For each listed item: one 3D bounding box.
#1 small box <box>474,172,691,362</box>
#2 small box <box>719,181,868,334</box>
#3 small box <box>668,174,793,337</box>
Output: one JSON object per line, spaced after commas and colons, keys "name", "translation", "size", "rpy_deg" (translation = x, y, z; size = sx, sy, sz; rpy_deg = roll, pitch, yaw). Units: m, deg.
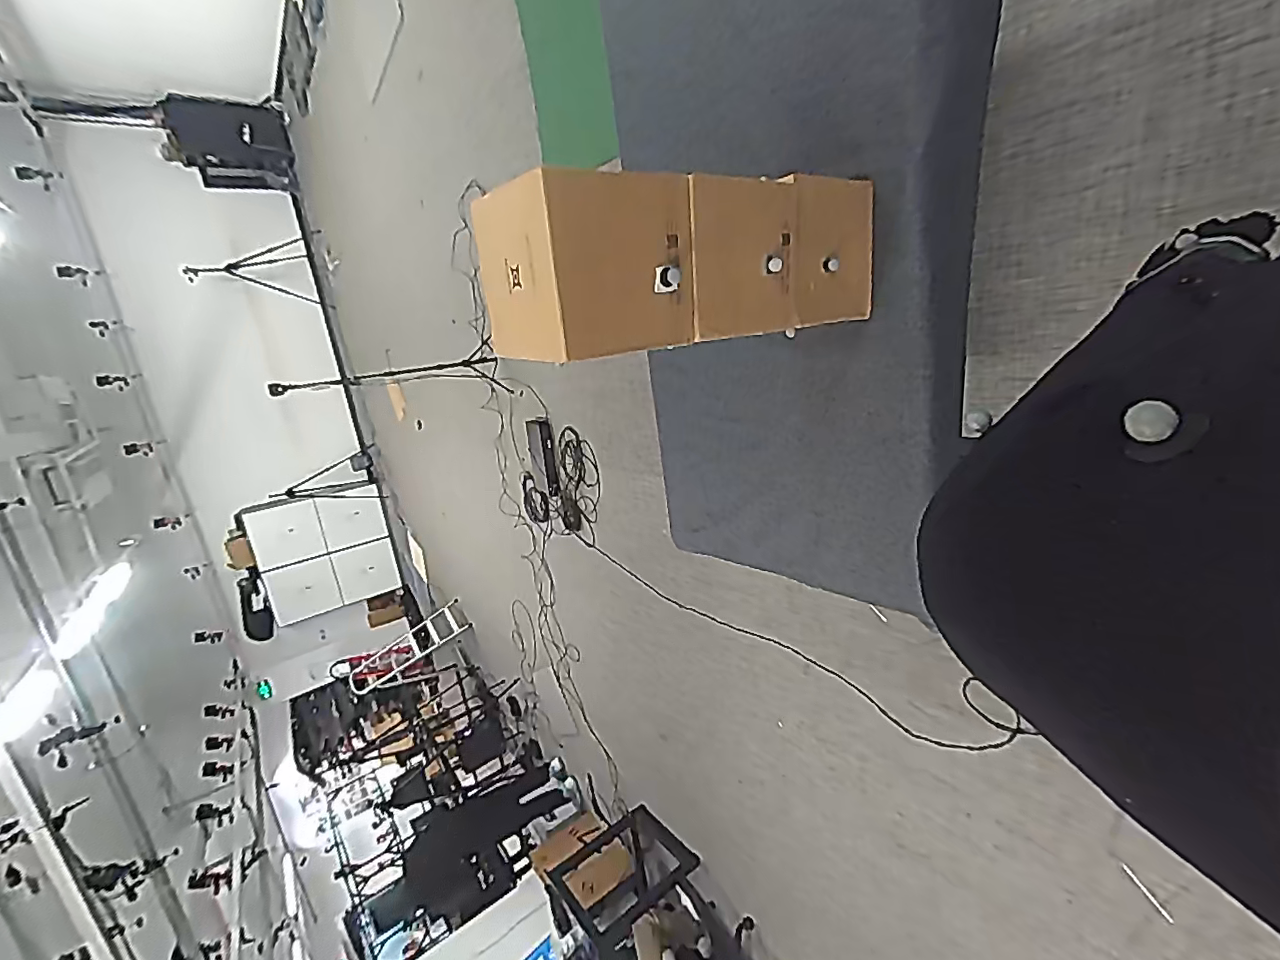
{"name": "small box", "translation": [-0.061, -0.229, 0.601], "size": [0.179, 0.176, 0.168], "rpy_deg": [19, 121, 51]}
{"name": "small box", "translation": [0.206, -0.311, 0.770], "size": [0.168, 0.176, 0.179], "rpy_deg": [16, 118, 53]}
{"name": "small box", "translation": [0.070, -0.270, 0.686], "size": [0.179, 0.176, 0.168], "rpy_deg": [17, 118, 54]}
